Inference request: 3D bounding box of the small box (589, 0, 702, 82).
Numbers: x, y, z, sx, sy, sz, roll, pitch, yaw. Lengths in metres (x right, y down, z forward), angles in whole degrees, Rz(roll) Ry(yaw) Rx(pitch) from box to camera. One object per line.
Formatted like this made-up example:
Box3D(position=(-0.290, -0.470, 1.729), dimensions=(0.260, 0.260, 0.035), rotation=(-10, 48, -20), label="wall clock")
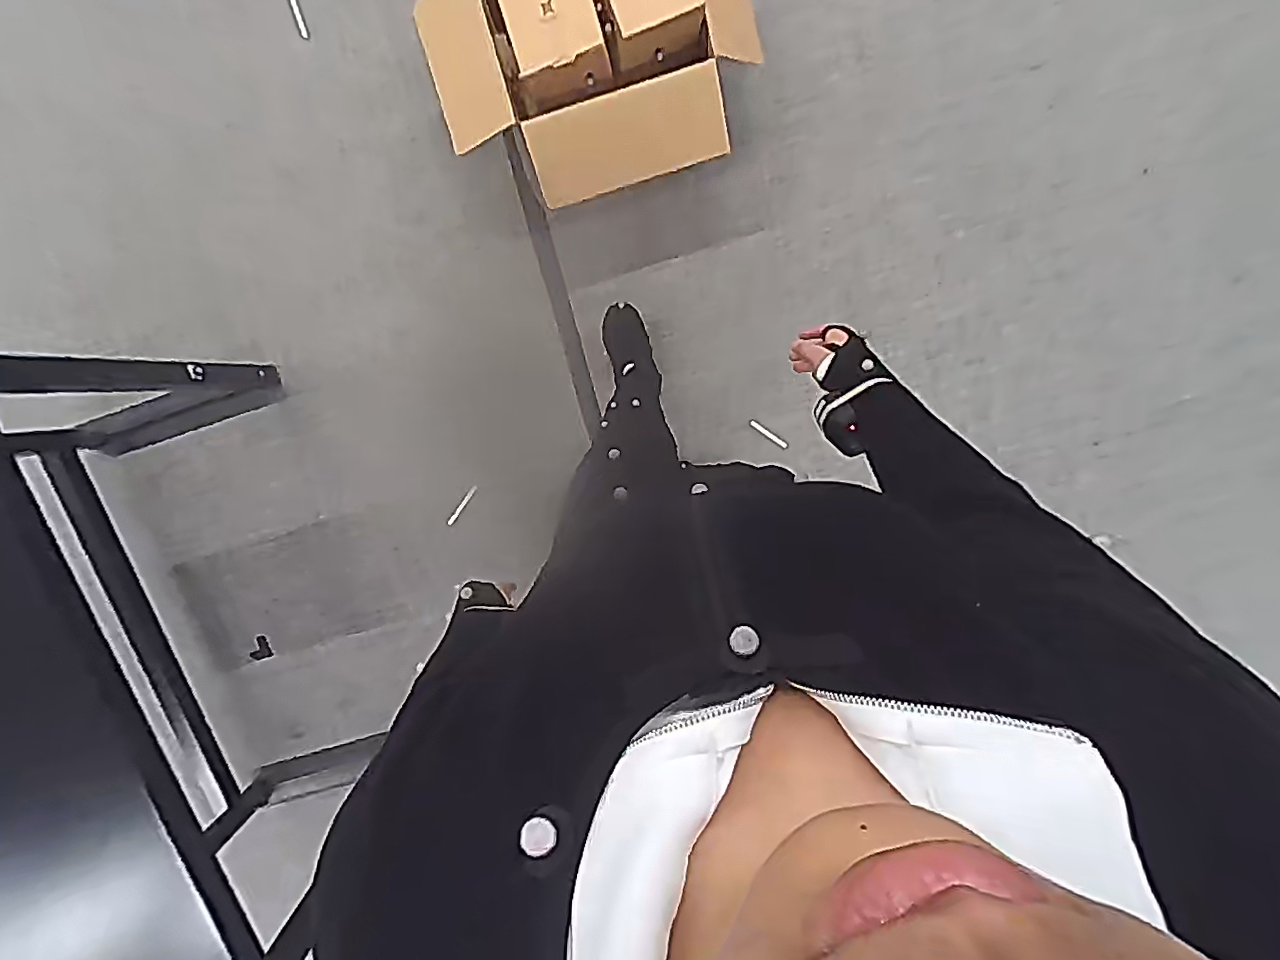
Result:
Box3D(position=(0.005, -0.917, 1.046), dimensions=(0.168, 0.176, 0.179), rotation=(-23, 99, 0), label="small box")
